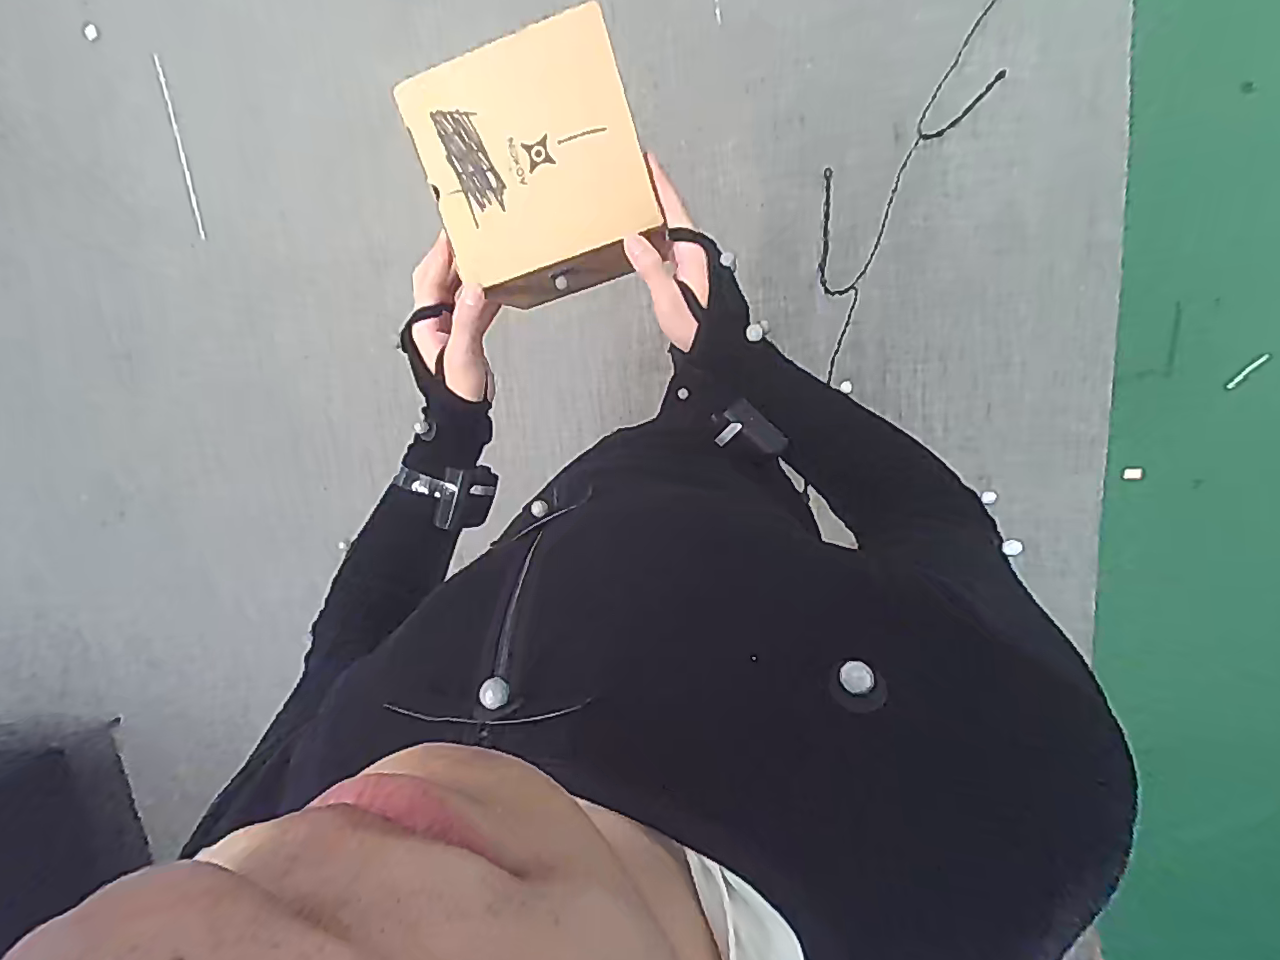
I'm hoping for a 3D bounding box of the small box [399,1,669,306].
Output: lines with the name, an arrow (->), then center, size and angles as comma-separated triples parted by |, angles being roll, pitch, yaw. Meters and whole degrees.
small box -> -0.079, -0.273, 0.504 | 0.179, 0.176, 0.168 | -17, 101, 8
